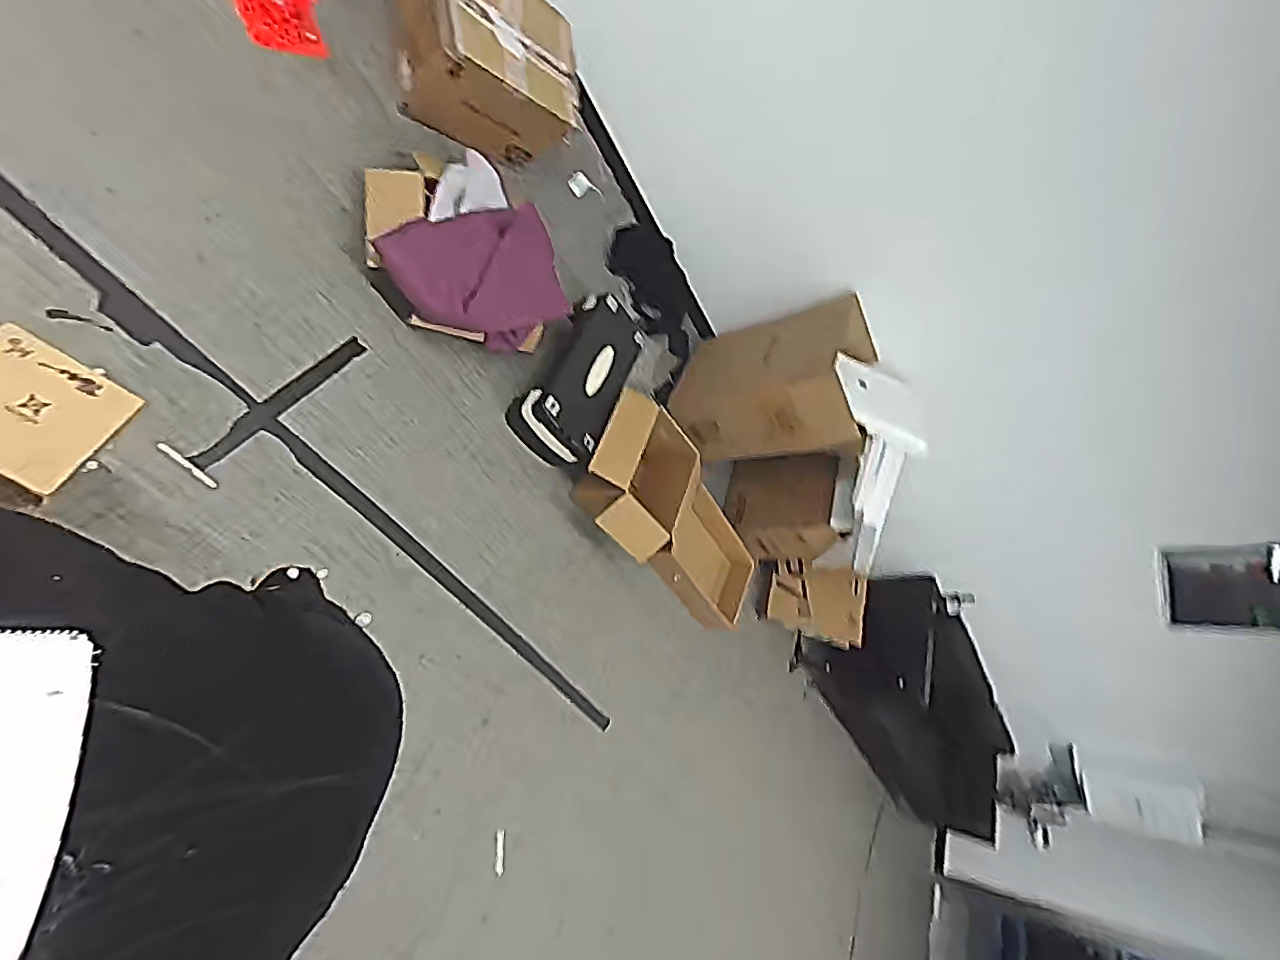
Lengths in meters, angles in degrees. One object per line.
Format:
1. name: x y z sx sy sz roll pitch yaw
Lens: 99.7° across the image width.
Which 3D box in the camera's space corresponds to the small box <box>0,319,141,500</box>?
1. small box: -0.866 -0.087 0.762 0.168 0.176 0.179 45 52 -35
